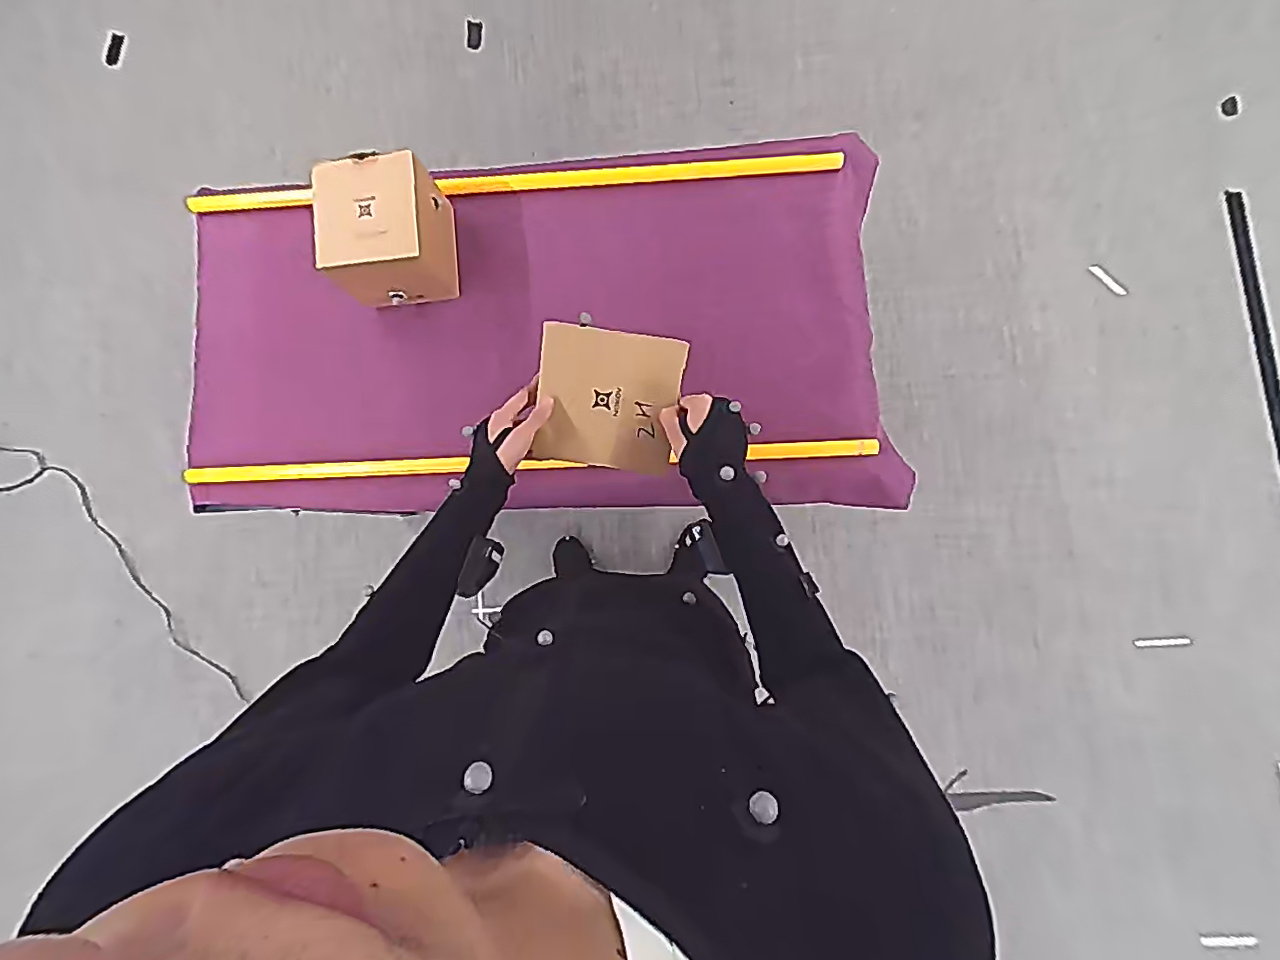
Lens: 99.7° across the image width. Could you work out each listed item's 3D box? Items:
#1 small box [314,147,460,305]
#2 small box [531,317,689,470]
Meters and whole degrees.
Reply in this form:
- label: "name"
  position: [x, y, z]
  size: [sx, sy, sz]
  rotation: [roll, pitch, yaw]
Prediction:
- label: "small box"
  position: [-0.417, -0.418, 0.912]
  size: [0.168, 0.176, 0.179]
  rotation: [-6, 86, 3]
- label: "small box"
  position: [-0.043, -0.122, 0.732]
  size: [0.179, 0.176, 0.168]
  rotation: [7, 106, -6]
